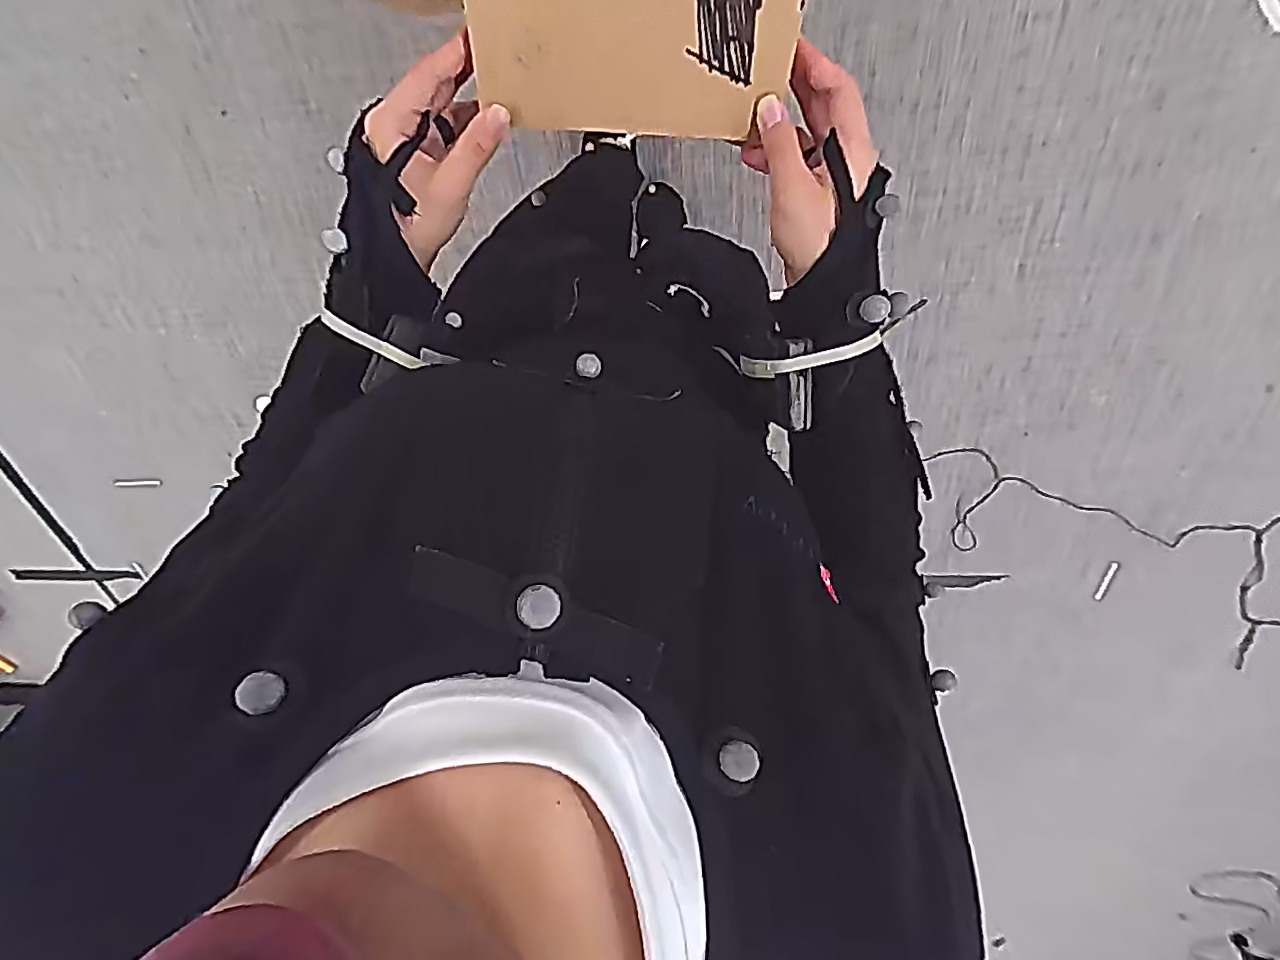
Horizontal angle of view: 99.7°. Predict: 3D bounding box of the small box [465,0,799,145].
[{"bbox_3d":[-0.003,-0.320,0.316,0.179,0.176,0.168,3,138,-1],"label":"small box"}]
